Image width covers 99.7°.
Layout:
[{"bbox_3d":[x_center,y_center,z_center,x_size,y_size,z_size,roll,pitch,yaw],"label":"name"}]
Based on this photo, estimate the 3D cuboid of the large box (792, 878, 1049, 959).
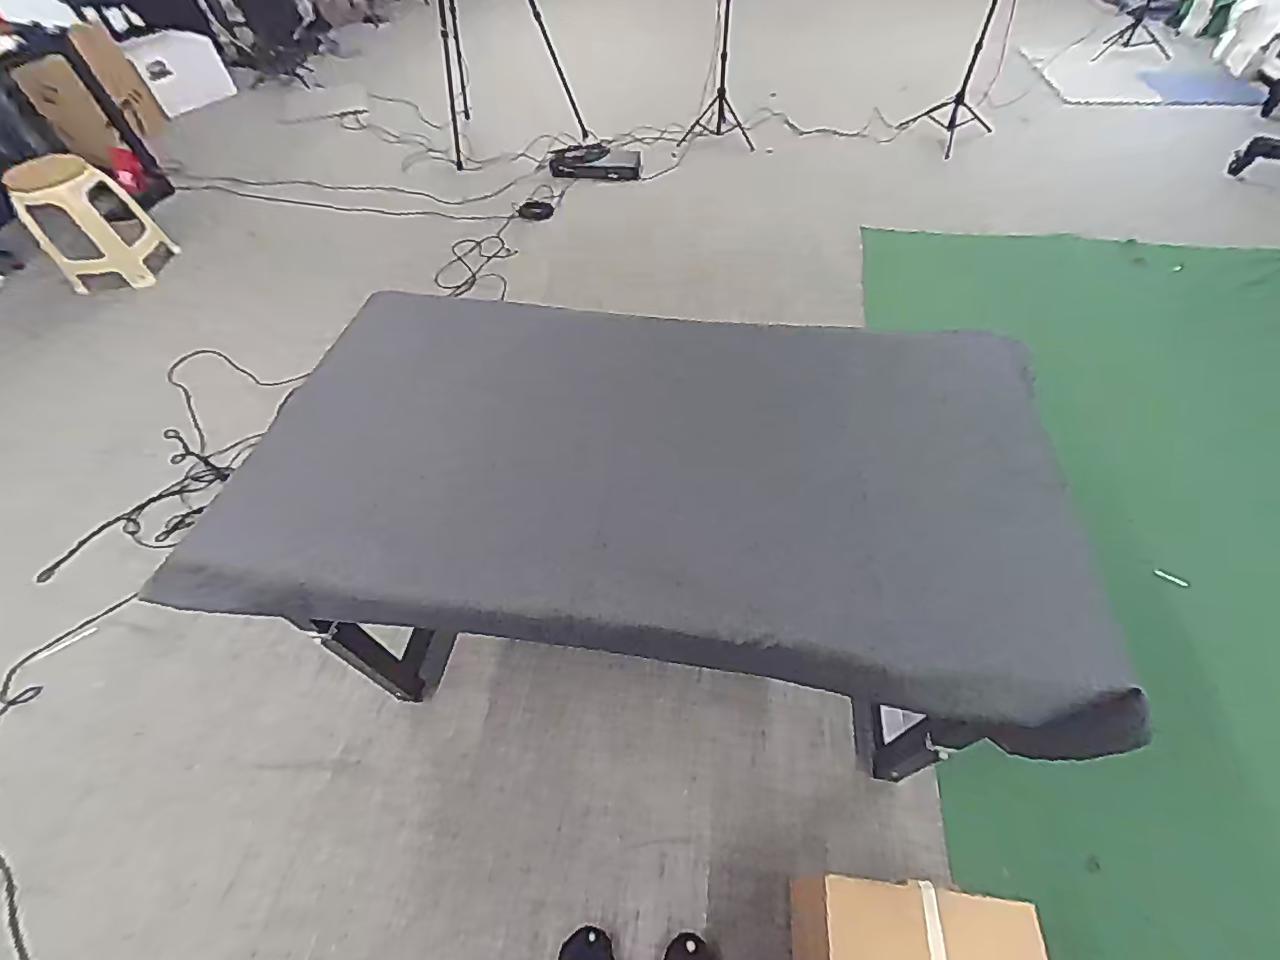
[{"bbox_3d":[0.428,0.875,0.830,0.320,0.320,0.408,4,53,6],"label":"large box"}]
